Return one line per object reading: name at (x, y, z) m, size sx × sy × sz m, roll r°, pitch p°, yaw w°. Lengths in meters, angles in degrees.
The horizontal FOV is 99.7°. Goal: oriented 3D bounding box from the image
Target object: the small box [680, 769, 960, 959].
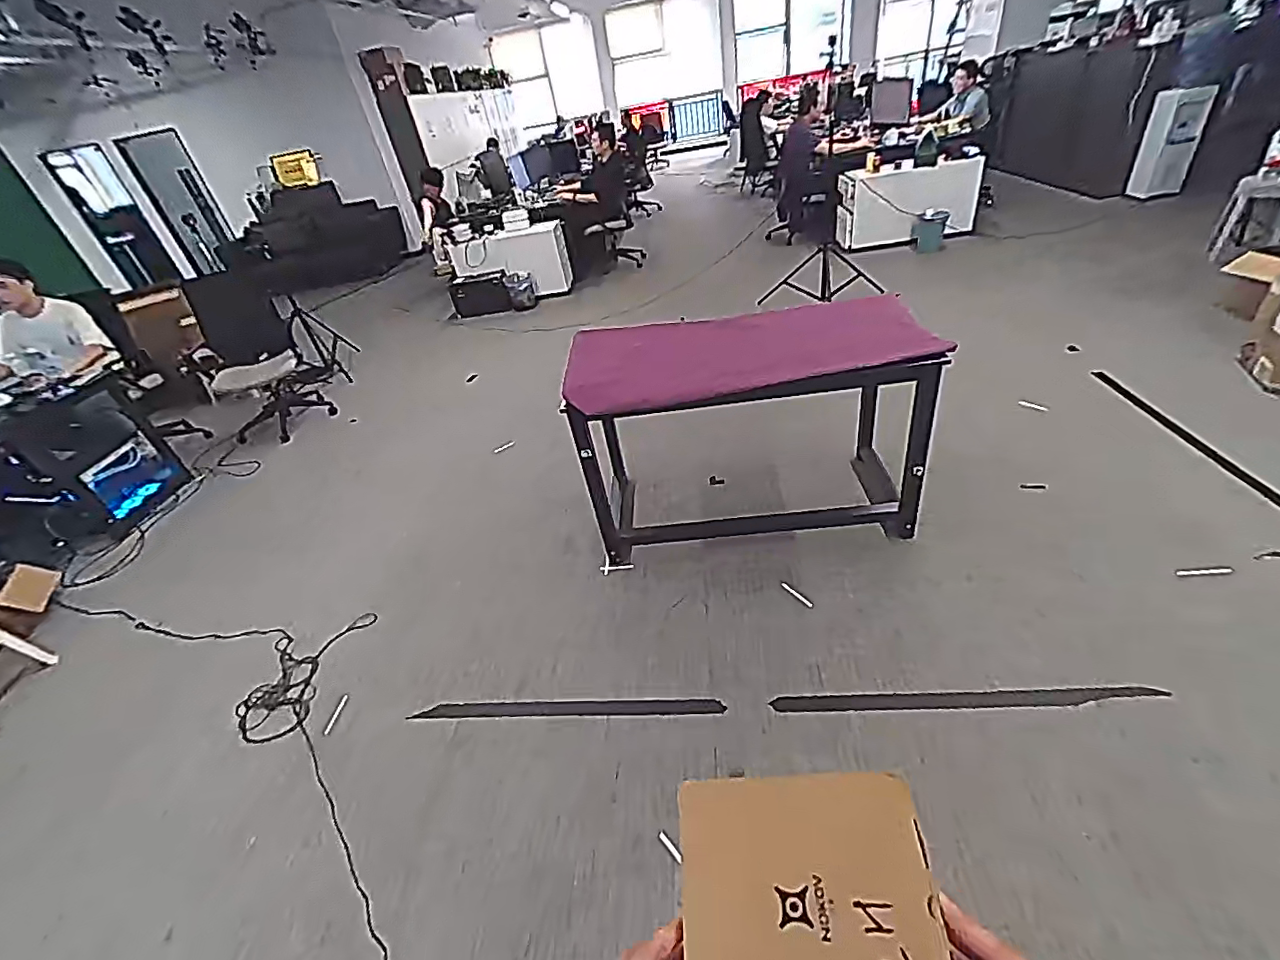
small box at (0.131, 0.337, 0.429) m, size 0.179 × 0.176 × 0.168 m, roll -6°, pitch 52°, yaw 9°
